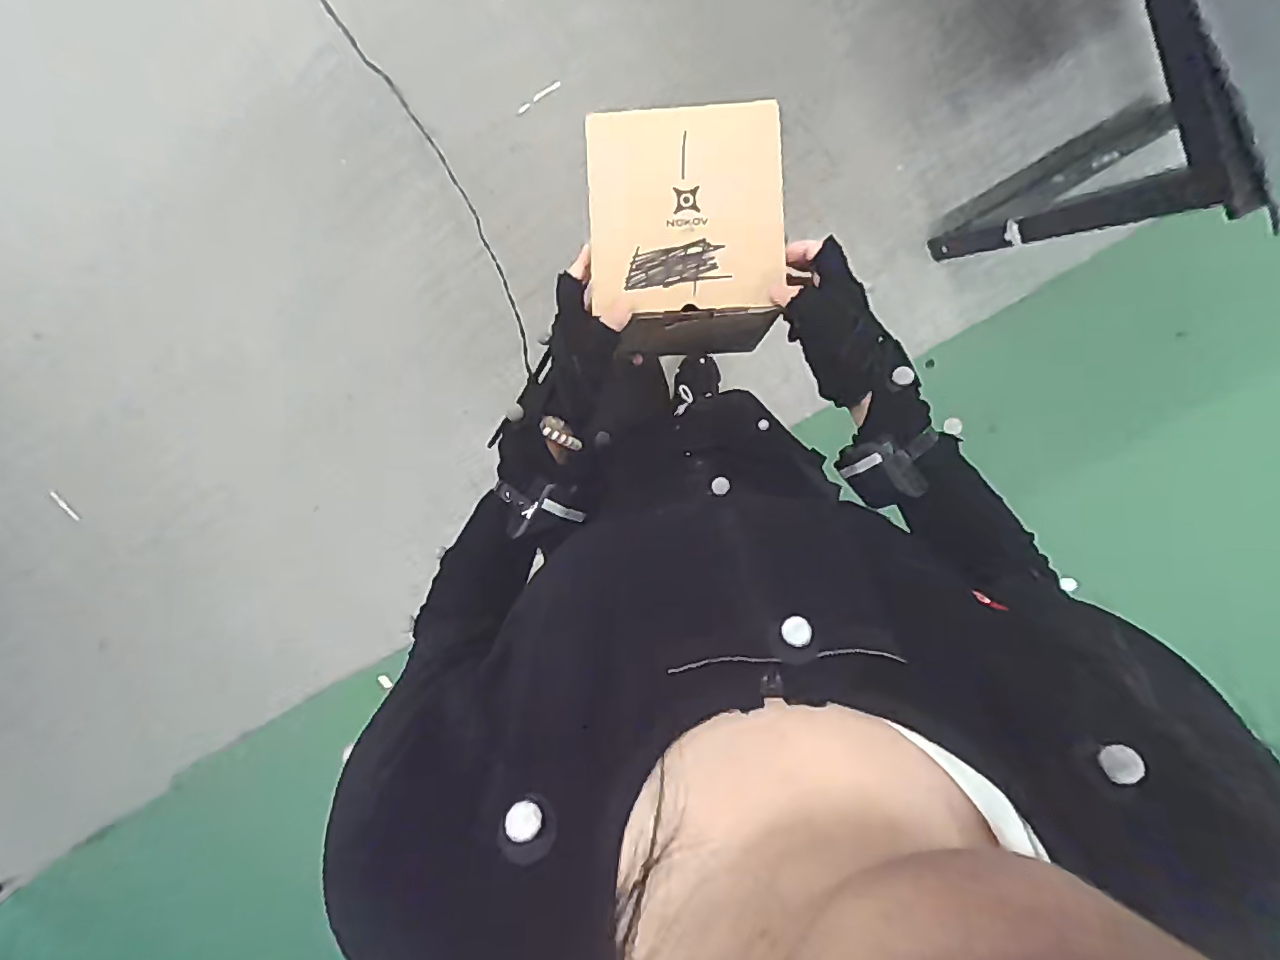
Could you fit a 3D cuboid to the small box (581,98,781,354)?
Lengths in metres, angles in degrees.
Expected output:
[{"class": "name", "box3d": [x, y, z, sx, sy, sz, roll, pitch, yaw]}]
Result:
[{"class": "small box", "box3d": [0.039, -0.227, 0.533, 0.168, 0.176, 0.179, -3, 90, 3]}]
